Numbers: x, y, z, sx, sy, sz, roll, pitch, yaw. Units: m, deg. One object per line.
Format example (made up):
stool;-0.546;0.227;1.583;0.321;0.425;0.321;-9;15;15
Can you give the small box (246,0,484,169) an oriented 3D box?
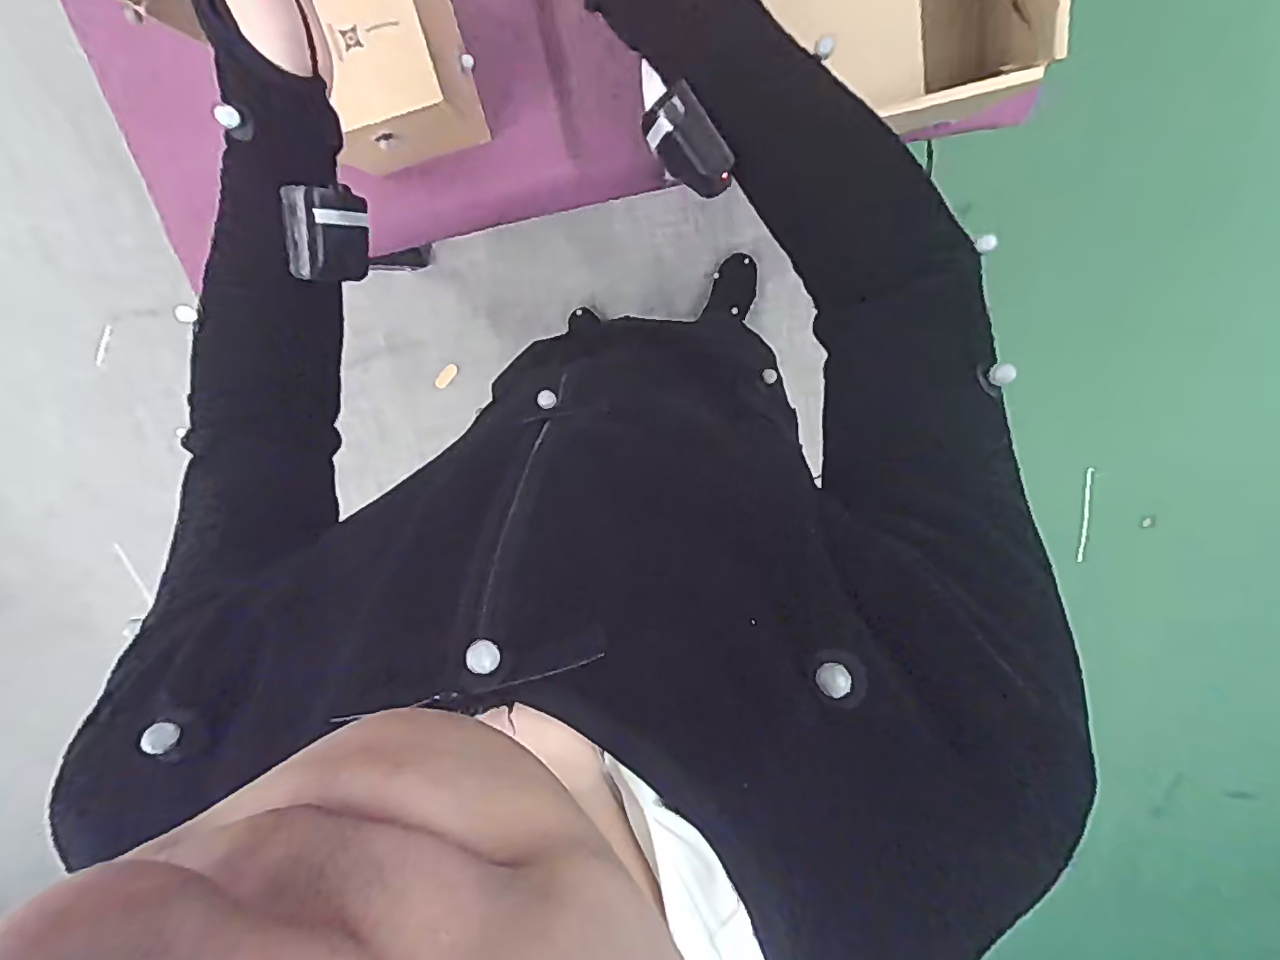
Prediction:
small box;-0.317;-0.501;0.655;0.179;0.176;0.168;-12;108;7

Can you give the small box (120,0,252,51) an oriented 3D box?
small box;-0.568;-0.640;0.617;0.179;0.176;0.168;30;108;-8
